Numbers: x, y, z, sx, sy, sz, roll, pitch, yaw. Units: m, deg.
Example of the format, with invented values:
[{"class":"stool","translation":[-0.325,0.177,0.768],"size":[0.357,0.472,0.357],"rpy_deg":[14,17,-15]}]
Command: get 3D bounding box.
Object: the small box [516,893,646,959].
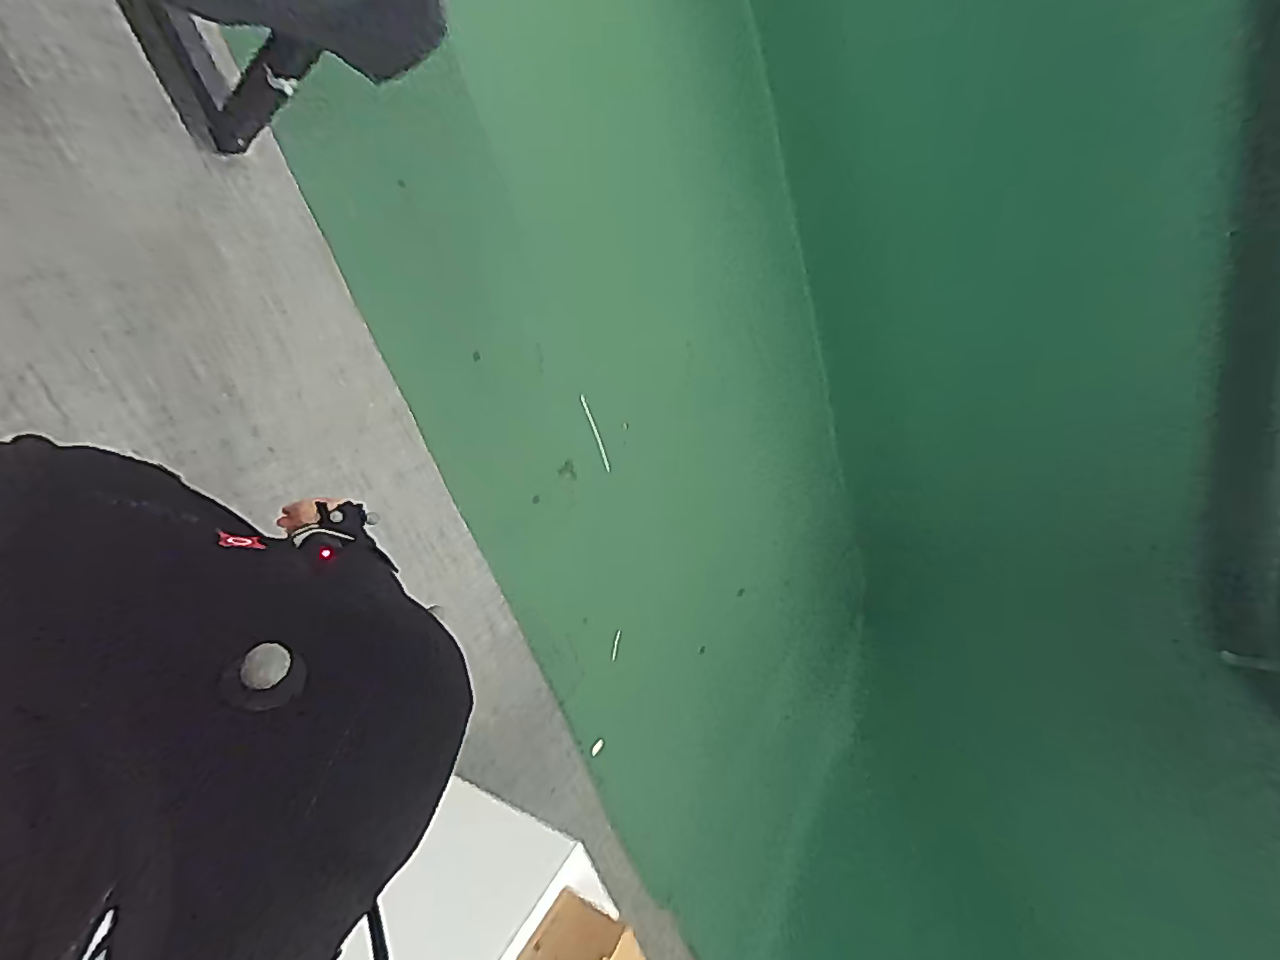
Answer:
[{"class":"small box","translation":[-0.105,0.907,0.988],"size":[0.168,0.176,0.179],"rpy_deg":[-38,119,-45]}]
